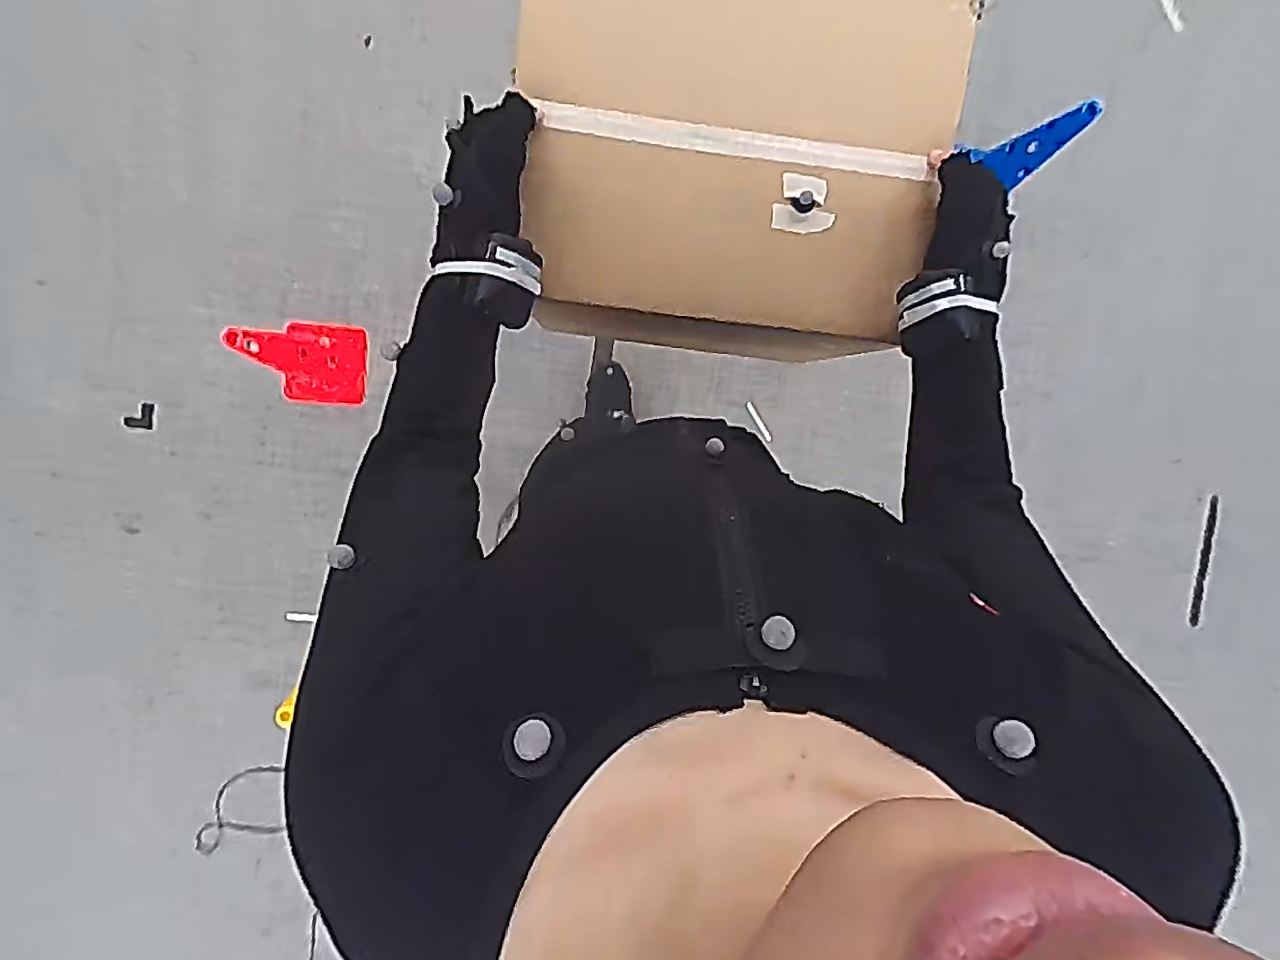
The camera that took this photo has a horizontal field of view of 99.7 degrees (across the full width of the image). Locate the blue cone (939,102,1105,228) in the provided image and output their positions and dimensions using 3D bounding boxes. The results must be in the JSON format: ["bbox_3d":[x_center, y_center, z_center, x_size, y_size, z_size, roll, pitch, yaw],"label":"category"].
[{"bbox_3d":[0.925,-0.782,1.306,0.192,0.380,0.193,11,93,-6],"label":"blue cone"}]

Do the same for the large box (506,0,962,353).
[{"bbox_3d":[0.073,-0.338,0.644,0.408,0.320,0.320,6,99,-5],"label":"large box"}]

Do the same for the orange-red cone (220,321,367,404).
[{"bbox_3d":[-0.790,-0.282,1.205,0.198,0.360,0.199,5,95,-3],"label":"orange-red cone"}]
